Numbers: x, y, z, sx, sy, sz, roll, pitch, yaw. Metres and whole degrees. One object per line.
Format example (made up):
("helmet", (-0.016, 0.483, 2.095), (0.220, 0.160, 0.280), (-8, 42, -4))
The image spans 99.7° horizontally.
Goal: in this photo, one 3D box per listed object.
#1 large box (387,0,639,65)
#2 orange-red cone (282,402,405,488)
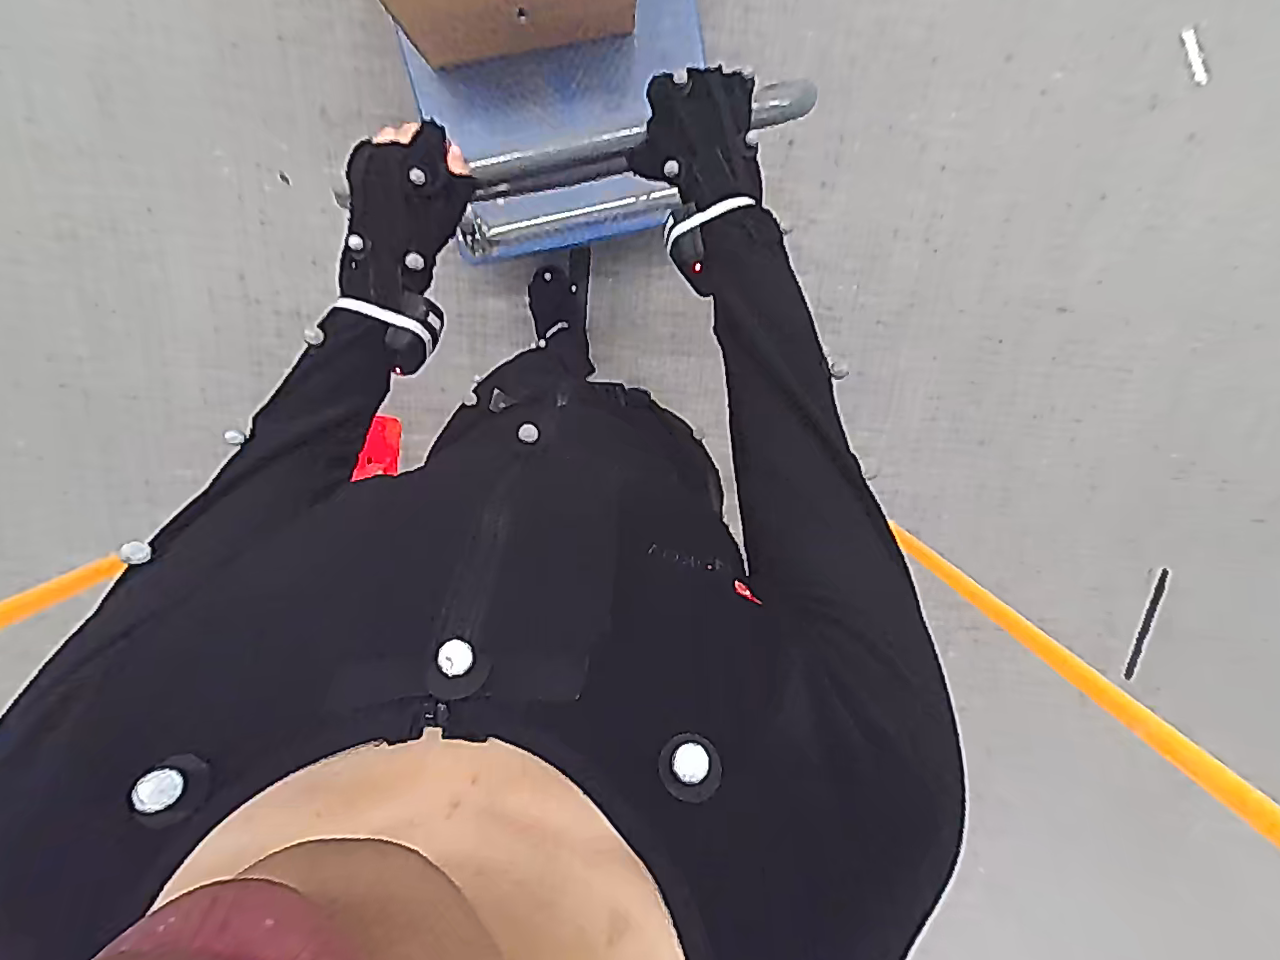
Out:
("large box", (-0.223, -0.939, 0.865), (0.408, 0.320, 0.320), (-10, 107, 2))
("orange-red cone", (-0.720, -0.050, 1.265), (0.198, 0.360, 0.199), (11, 104, -7))
